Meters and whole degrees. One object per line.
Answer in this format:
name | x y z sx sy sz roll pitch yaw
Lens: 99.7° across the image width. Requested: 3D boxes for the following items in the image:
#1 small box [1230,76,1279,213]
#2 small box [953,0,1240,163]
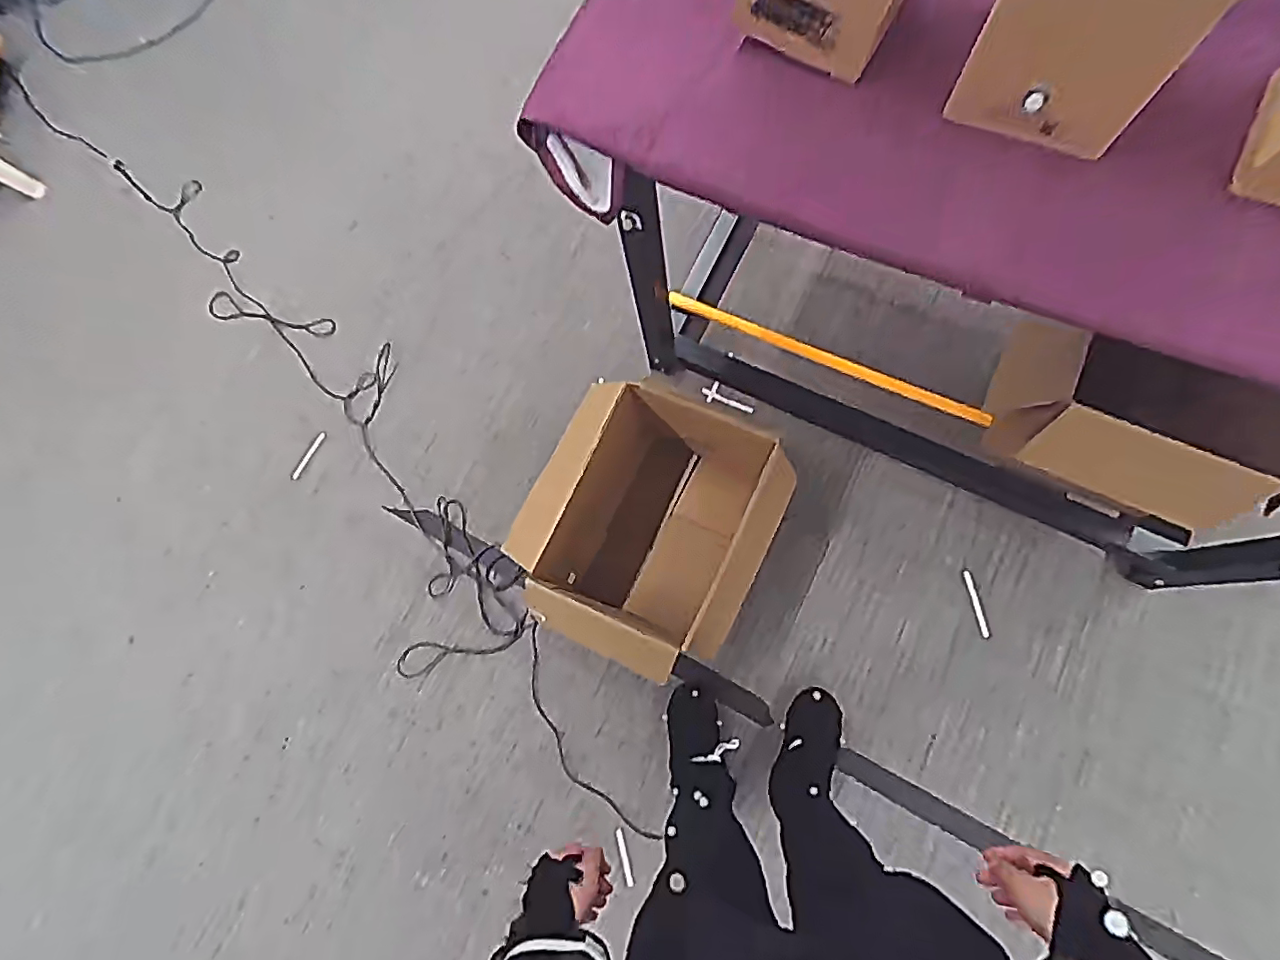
small box | 0.696 -0.339 0.462 0.179 0.176 0.168 27 79 13
small box | 0.443 -0.461 0.526 0.168 0.176 0.179 26 81 12
